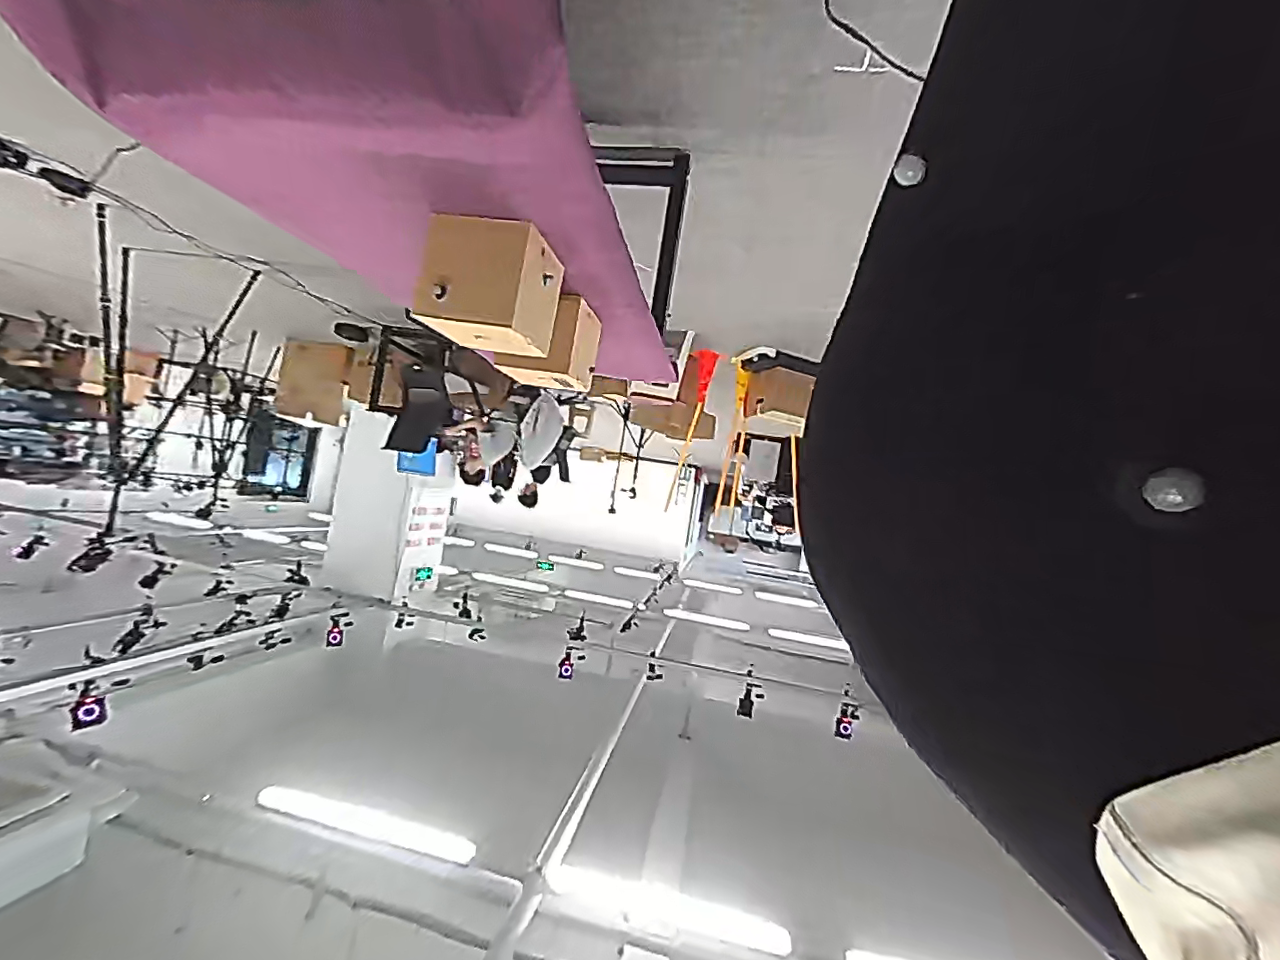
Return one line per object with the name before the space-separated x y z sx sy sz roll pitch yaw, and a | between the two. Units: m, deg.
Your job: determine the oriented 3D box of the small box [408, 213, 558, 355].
small box | -0.253 -0.324 0.908 0.179 0.176 0.168 9 179 9
